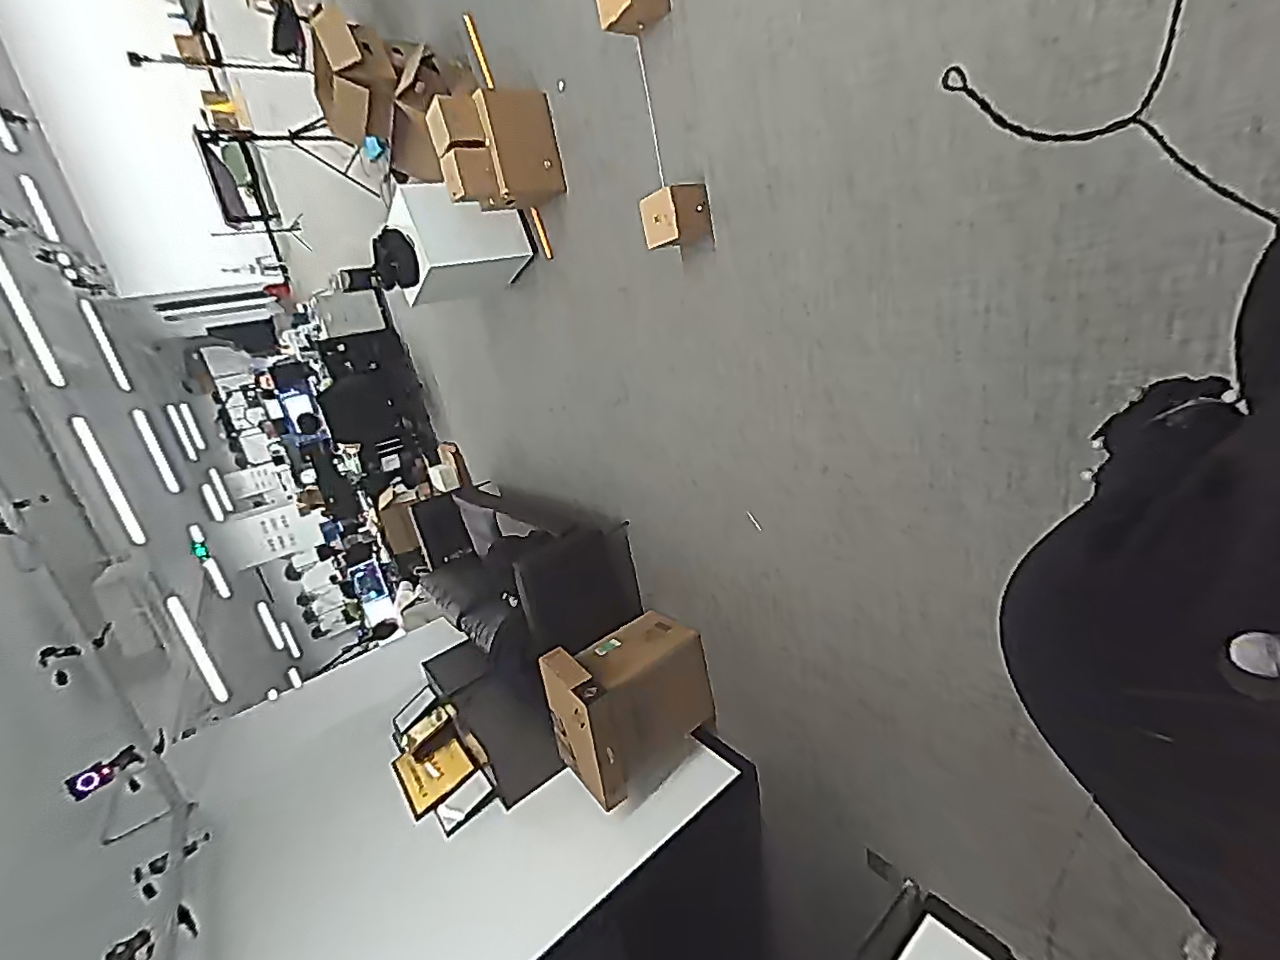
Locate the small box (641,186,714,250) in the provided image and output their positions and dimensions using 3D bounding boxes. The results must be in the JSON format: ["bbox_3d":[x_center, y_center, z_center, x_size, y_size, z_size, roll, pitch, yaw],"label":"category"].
[{"bbox_3d":[0.133,-0.924,1.909,0.179,0.176,0.168,10,118,53],"label":"small box"}]

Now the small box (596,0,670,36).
[{"bbox_3d":[-0.027,-1.566,1.728,0.168,0.176,0.179,10,118,53],"label":"small box"}]
